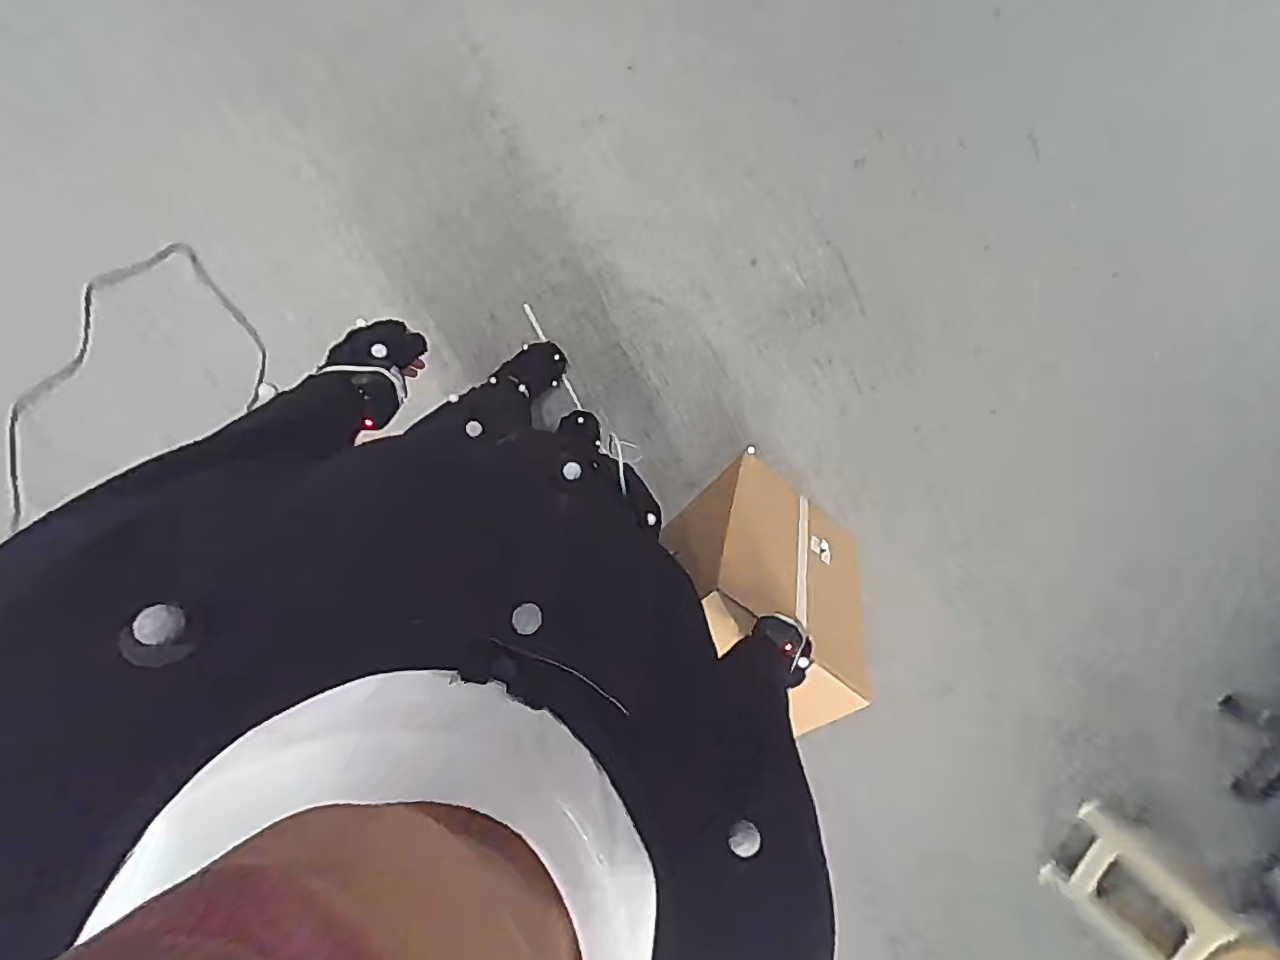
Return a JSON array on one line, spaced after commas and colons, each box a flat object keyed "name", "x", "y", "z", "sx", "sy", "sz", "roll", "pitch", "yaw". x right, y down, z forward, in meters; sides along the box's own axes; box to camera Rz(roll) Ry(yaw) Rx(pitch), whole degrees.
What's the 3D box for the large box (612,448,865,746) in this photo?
[{"name": "large box", "x": 0.192, "y": 0.219, "z": 1.057, "sx": 0.320, "sy": 0.408, "sz": 0.320, "roll": 37, "pitch": 125, "yaw": -9}]
